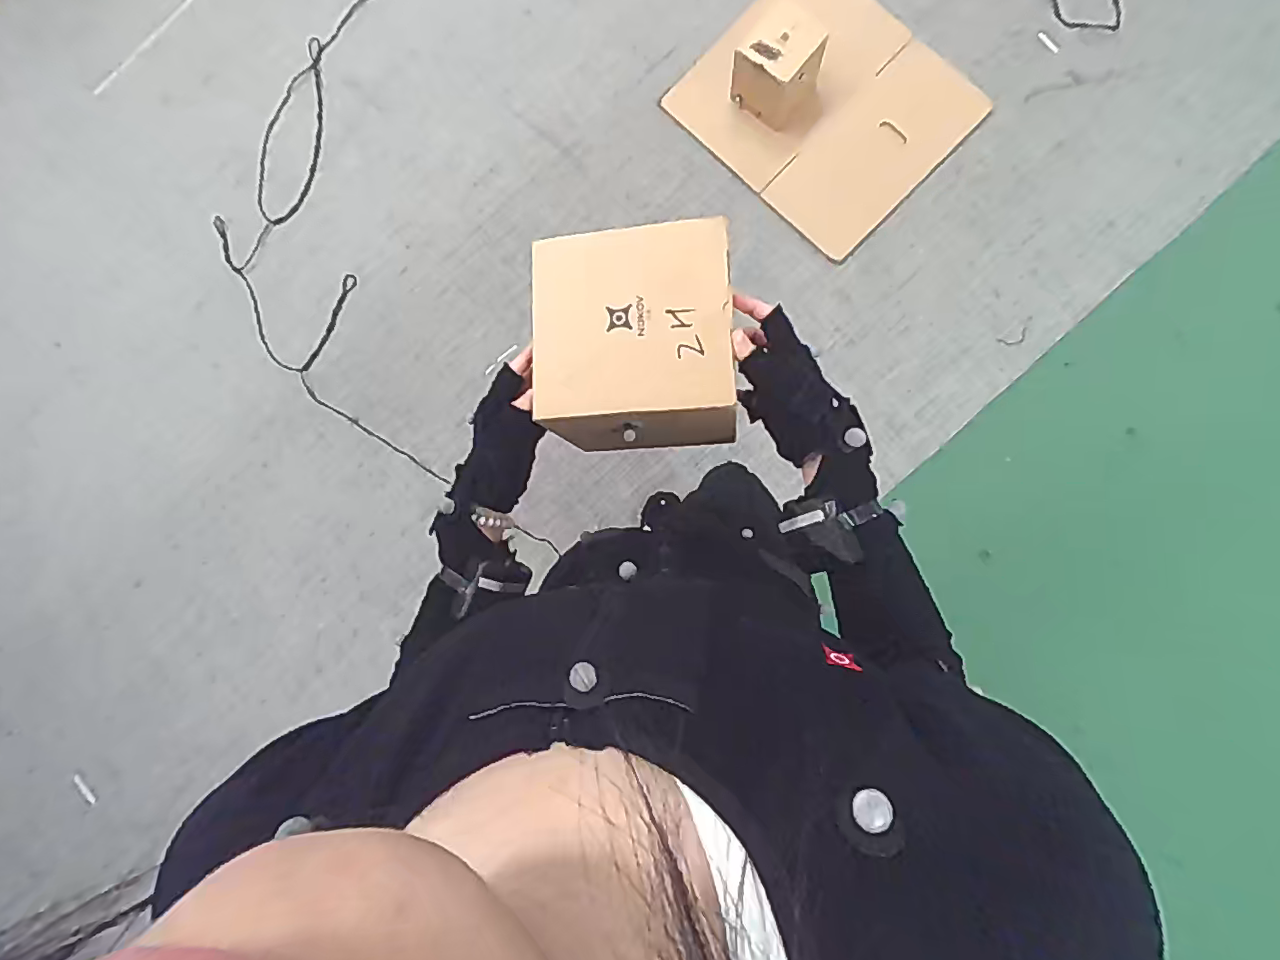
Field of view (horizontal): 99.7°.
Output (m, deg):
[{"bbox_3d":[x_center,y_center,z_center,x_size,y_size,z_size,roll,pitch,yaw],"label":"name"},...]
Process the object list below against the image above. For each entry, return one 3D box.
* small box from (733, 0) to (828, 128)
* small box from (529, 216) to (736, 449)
[{"bbox_3d":[0.360,-1.086,1.427,0.168,0.176,0.179,40,90,6],"label":"small box"},{"bbox_3d":[0.003,-0.127,0.535,0.179,0.176,0.168,-3,83,9],"label":"small box"}]
